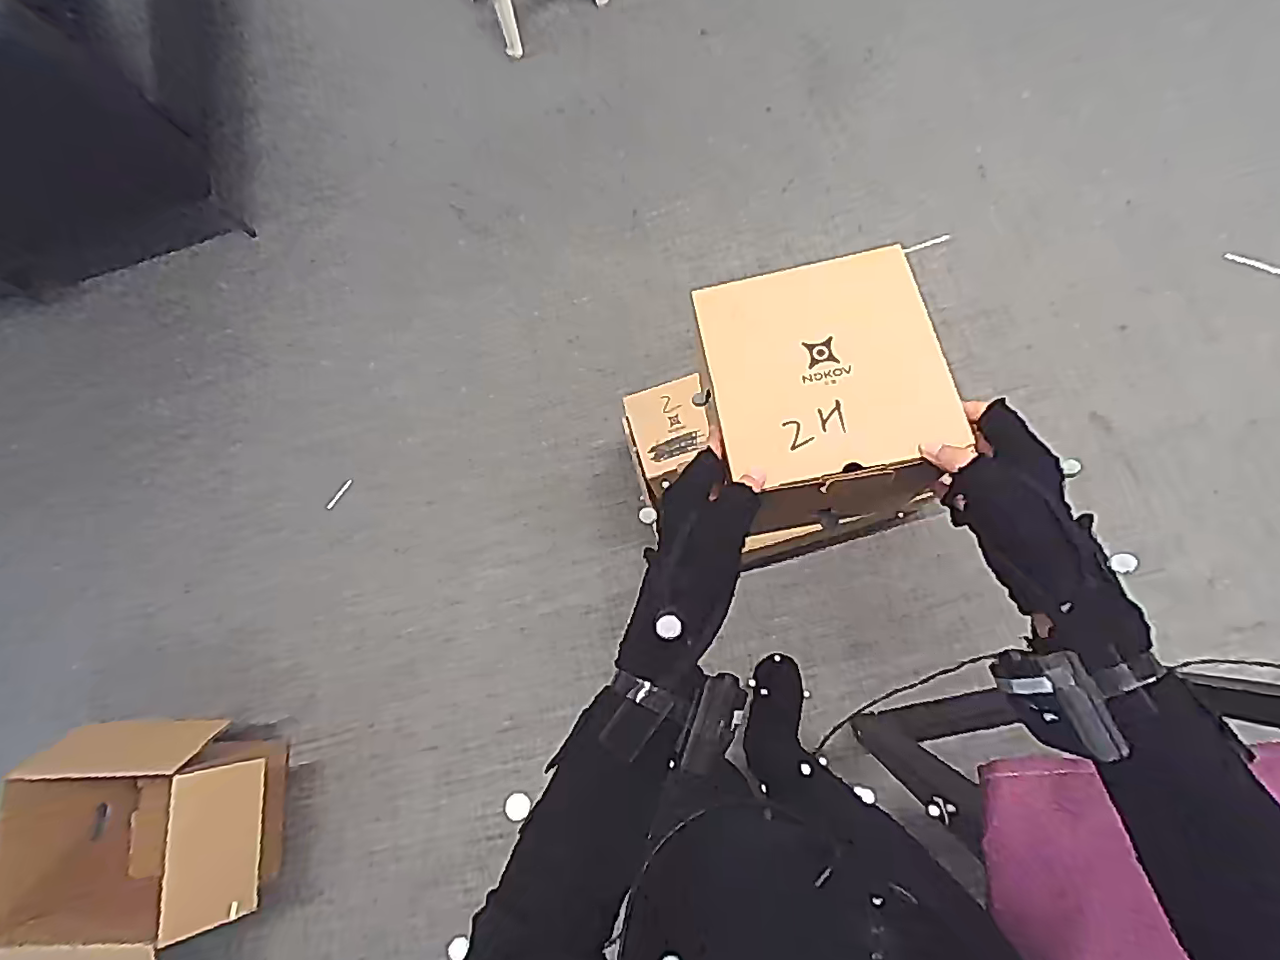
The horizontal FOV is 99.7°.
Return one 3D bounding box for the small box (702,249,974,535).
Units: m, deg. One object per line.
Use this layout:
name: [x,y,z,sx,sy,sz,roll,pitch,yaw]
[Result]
small box: [0.150,-0.064,0.479,0.168,0.176,0.179,-11,71,6]
